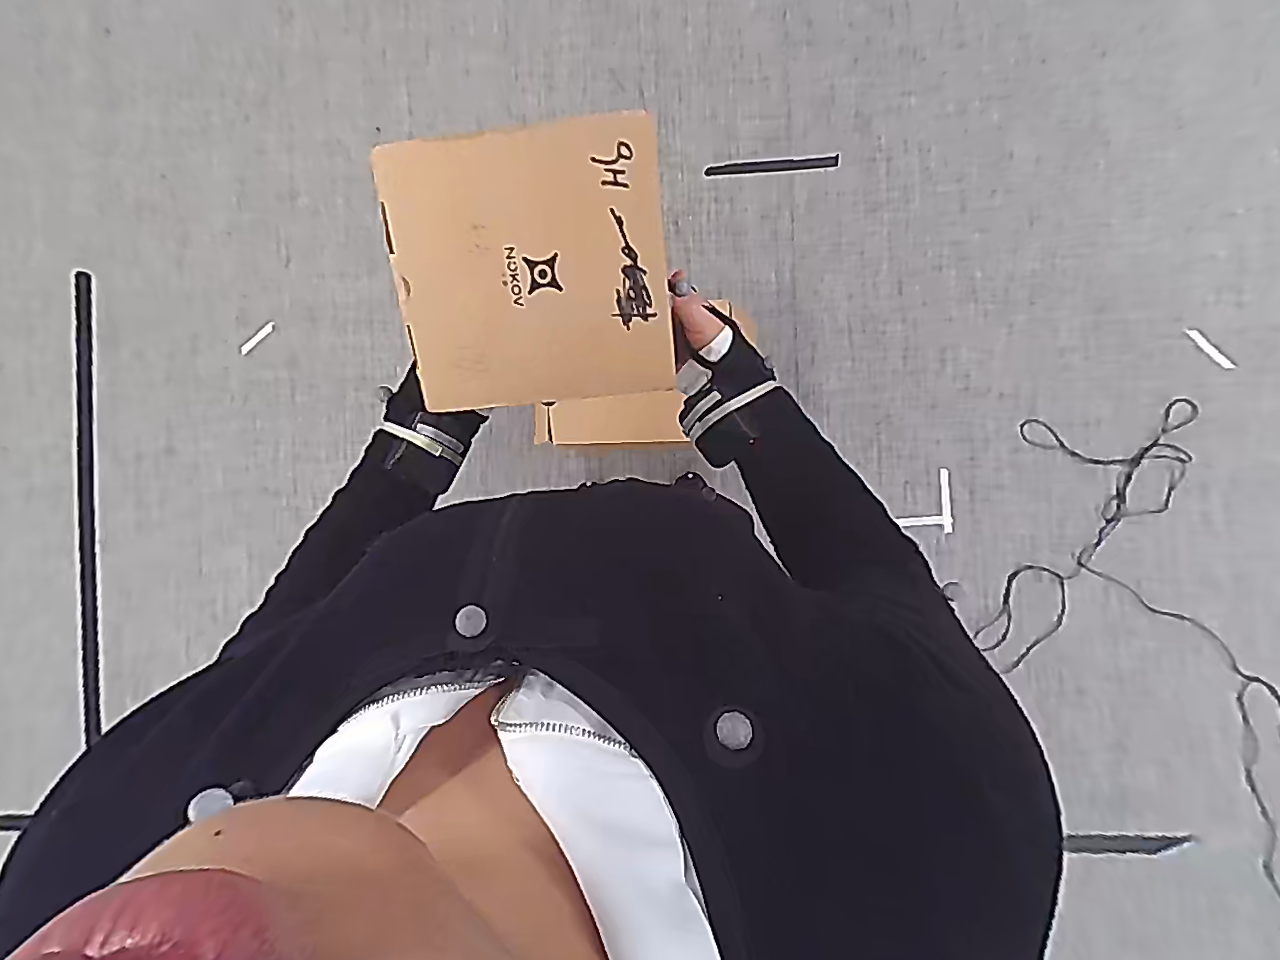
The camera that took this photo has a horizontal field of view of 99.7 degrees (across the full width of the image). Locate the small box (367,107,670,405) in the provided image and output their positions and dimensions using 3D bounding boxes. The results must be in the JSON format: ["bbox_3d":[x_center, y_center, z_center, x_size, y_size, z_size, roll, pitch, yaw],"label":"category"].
[{"bbox_3d":[-0.070,-0.159,0.424,0.179,0.176,0.168,-5,107,5],"label":"small box"}]
